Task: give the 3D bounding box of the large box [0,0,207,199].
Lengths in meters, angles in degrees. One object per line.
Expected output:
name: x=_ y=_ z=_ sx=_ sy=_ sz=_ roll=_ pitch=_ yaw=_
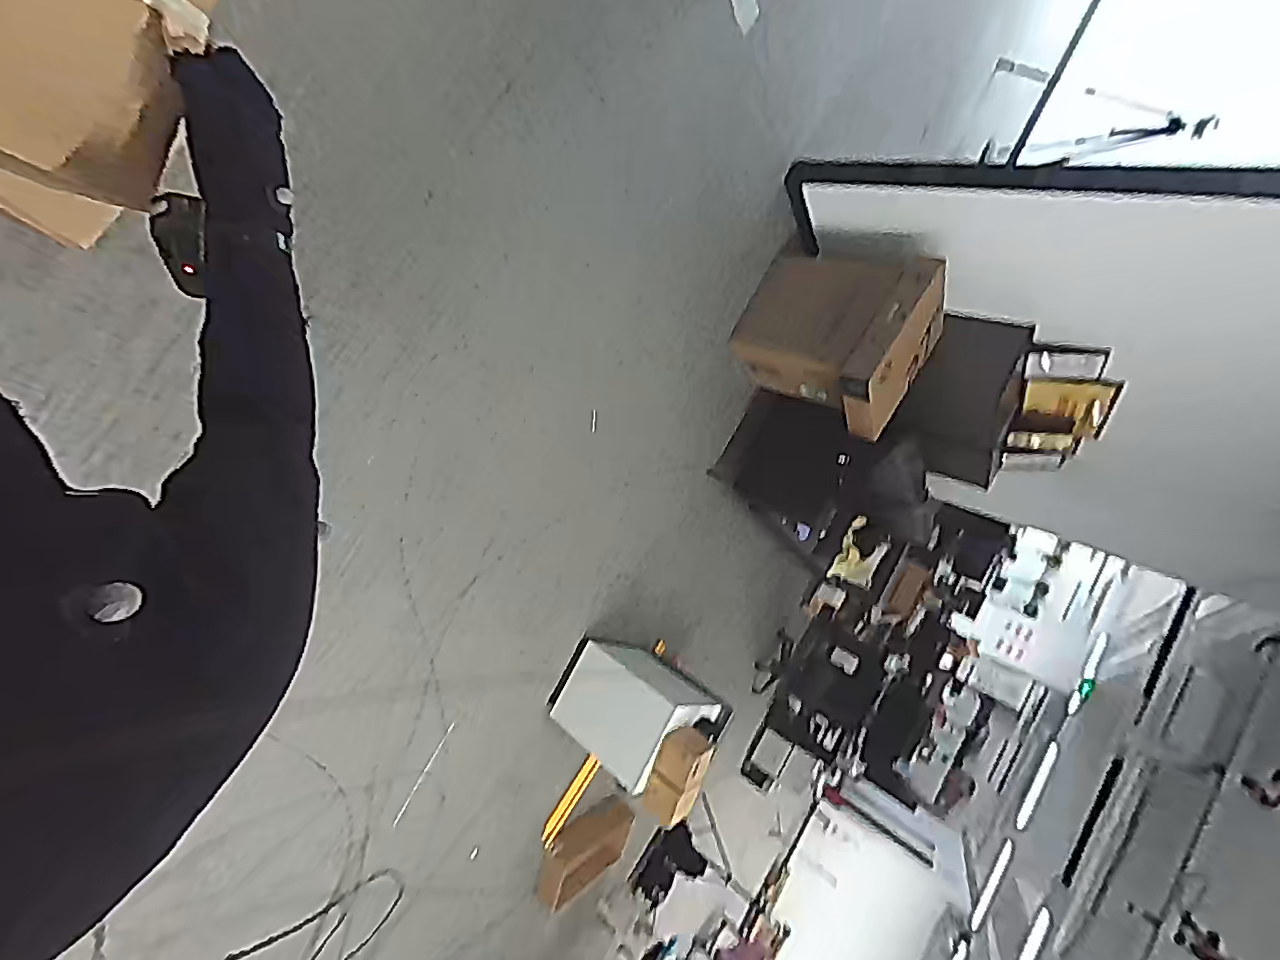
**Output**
large box: x=-0.576 y=-0.442 z=0.345 sx=0.408 sy=0.320 sz=0.320 roll=16 pitch=96 yaw=-59
